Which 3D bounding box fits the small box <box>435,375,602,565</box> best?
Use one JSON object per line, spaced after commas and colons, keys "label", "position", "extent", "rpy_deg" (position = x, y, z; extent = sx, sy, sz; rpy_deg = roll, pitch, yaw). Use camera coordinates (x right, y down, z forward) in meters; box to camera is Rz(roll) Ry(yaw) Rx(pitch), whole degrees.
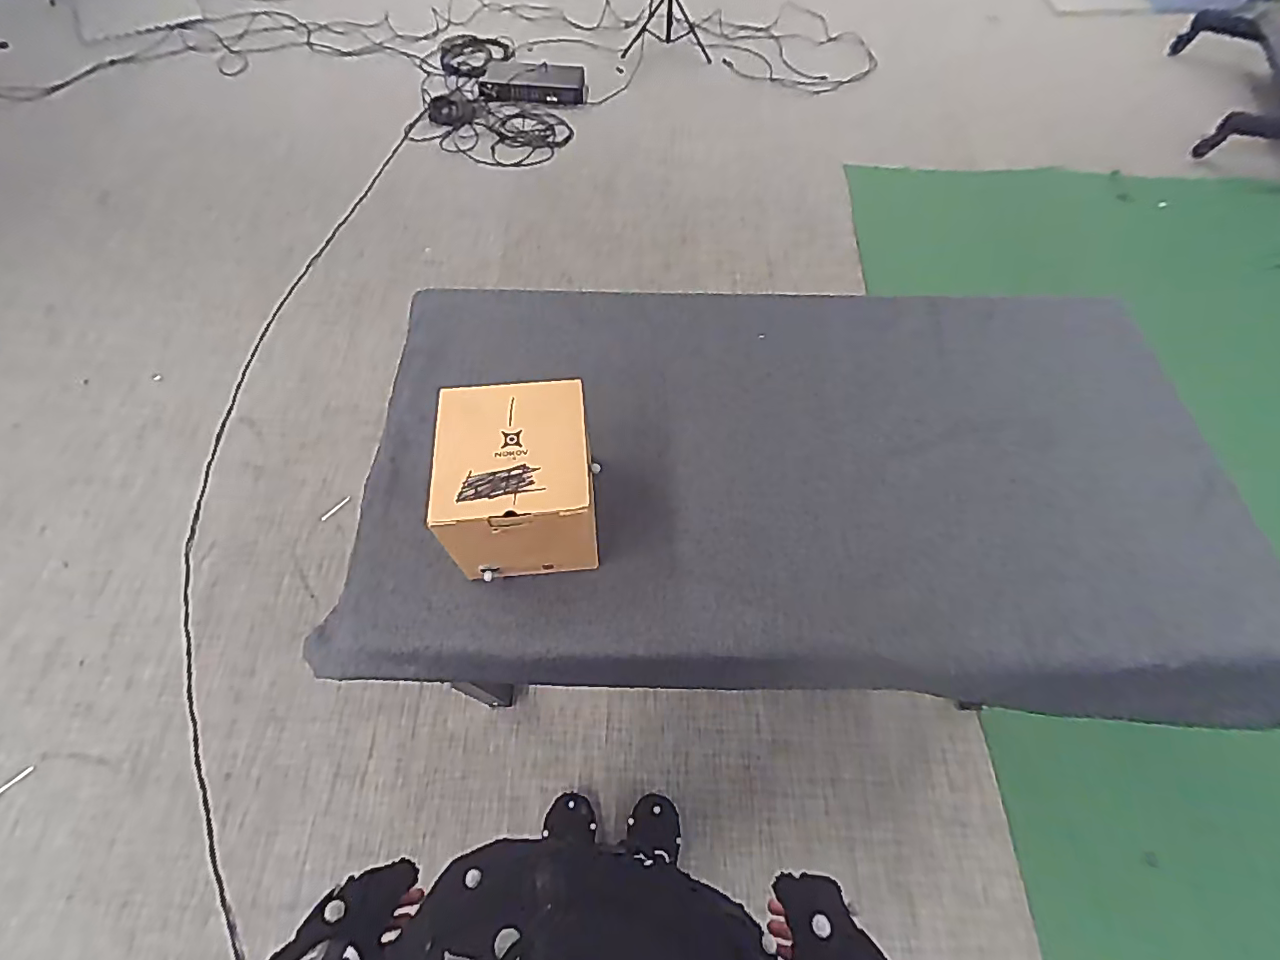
{"label": "small box", "position": [-0.136, -0.003, 0.664], "extent": [0.168, 0.176, 0.179], "rpy_deg": [-5, 60, -3]}
